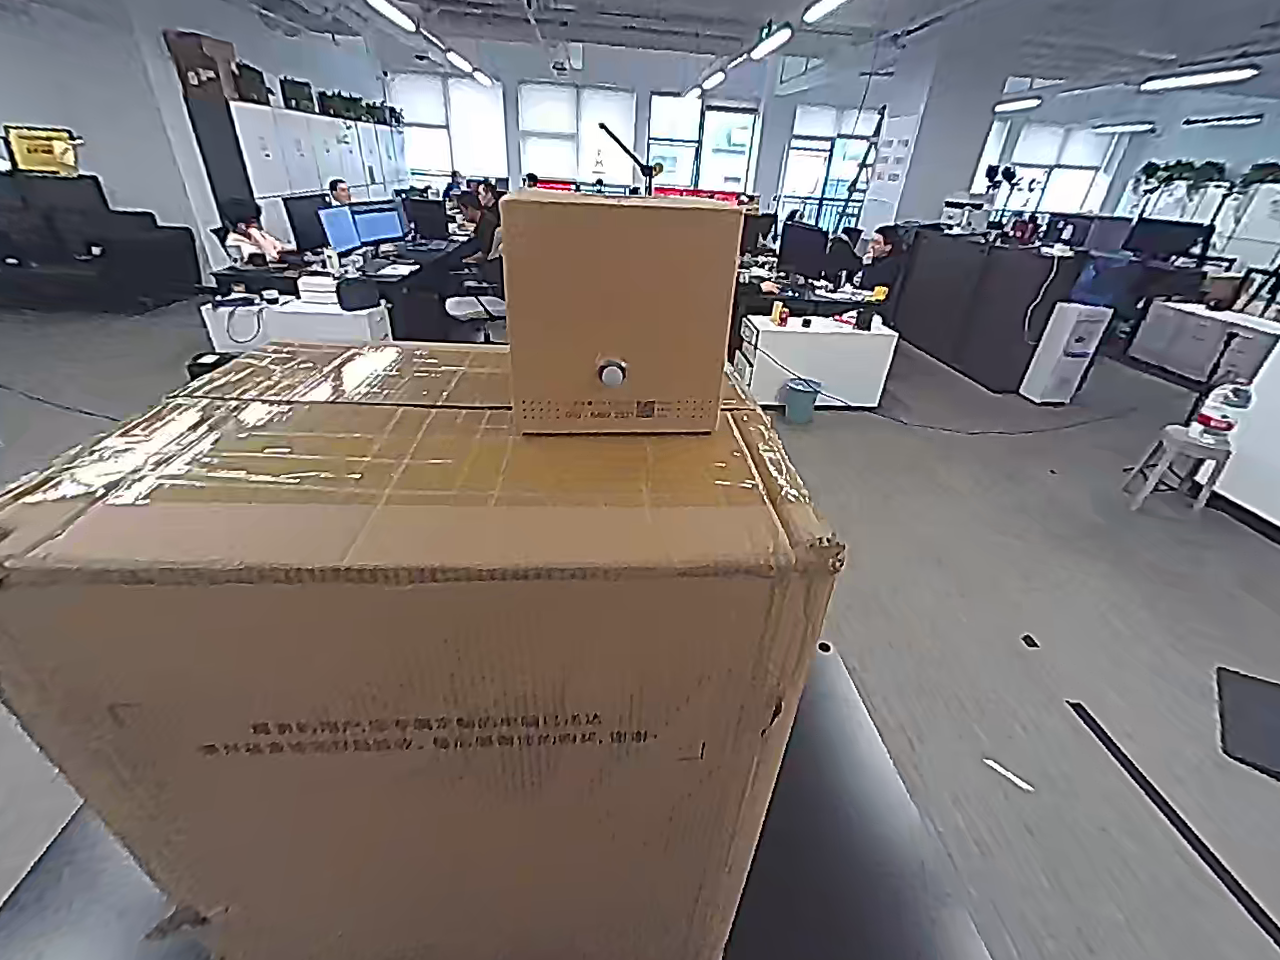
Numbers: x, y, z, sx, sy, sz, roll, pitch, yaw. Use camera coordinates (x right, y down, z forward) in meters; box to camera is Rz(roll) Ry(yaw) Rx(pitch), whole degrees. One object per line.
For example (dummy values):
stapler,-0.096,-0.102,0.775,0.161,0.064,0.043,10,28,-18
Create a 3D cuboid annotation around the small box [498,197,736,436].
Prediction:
small box,-0.025,-0.149,0.475,0.168,0.176,0.179,-2,30,-6
